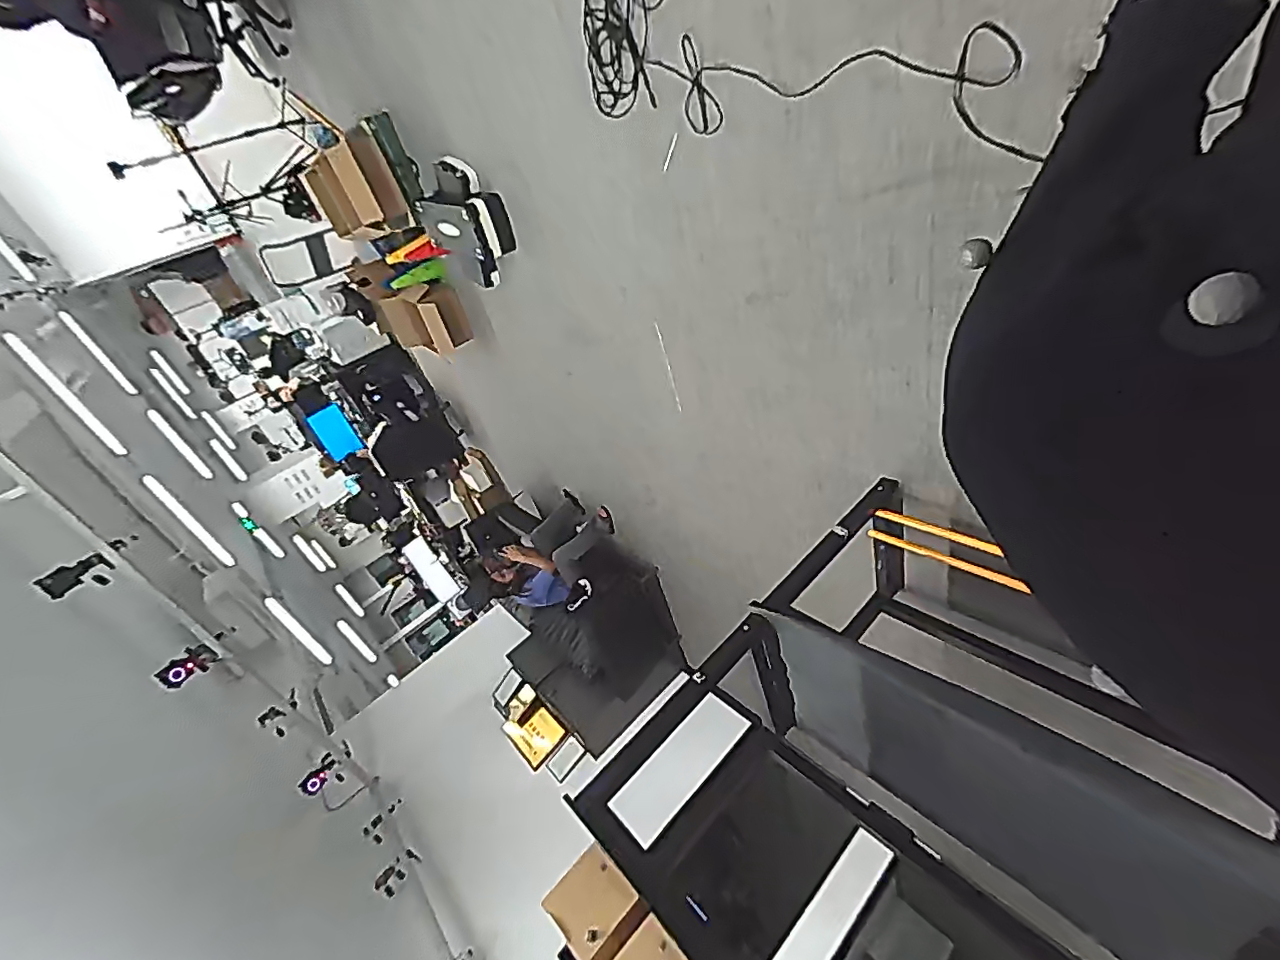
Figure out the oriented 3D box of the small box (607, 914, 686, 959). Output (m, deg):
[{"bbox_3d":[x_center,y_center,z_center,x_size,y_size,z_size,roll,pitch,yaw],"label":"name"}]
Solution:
[{"bbox_3d":[0.032,1.040,1.091,0.168,0.176,0.179,22,141,47],"label":"small box"}]
